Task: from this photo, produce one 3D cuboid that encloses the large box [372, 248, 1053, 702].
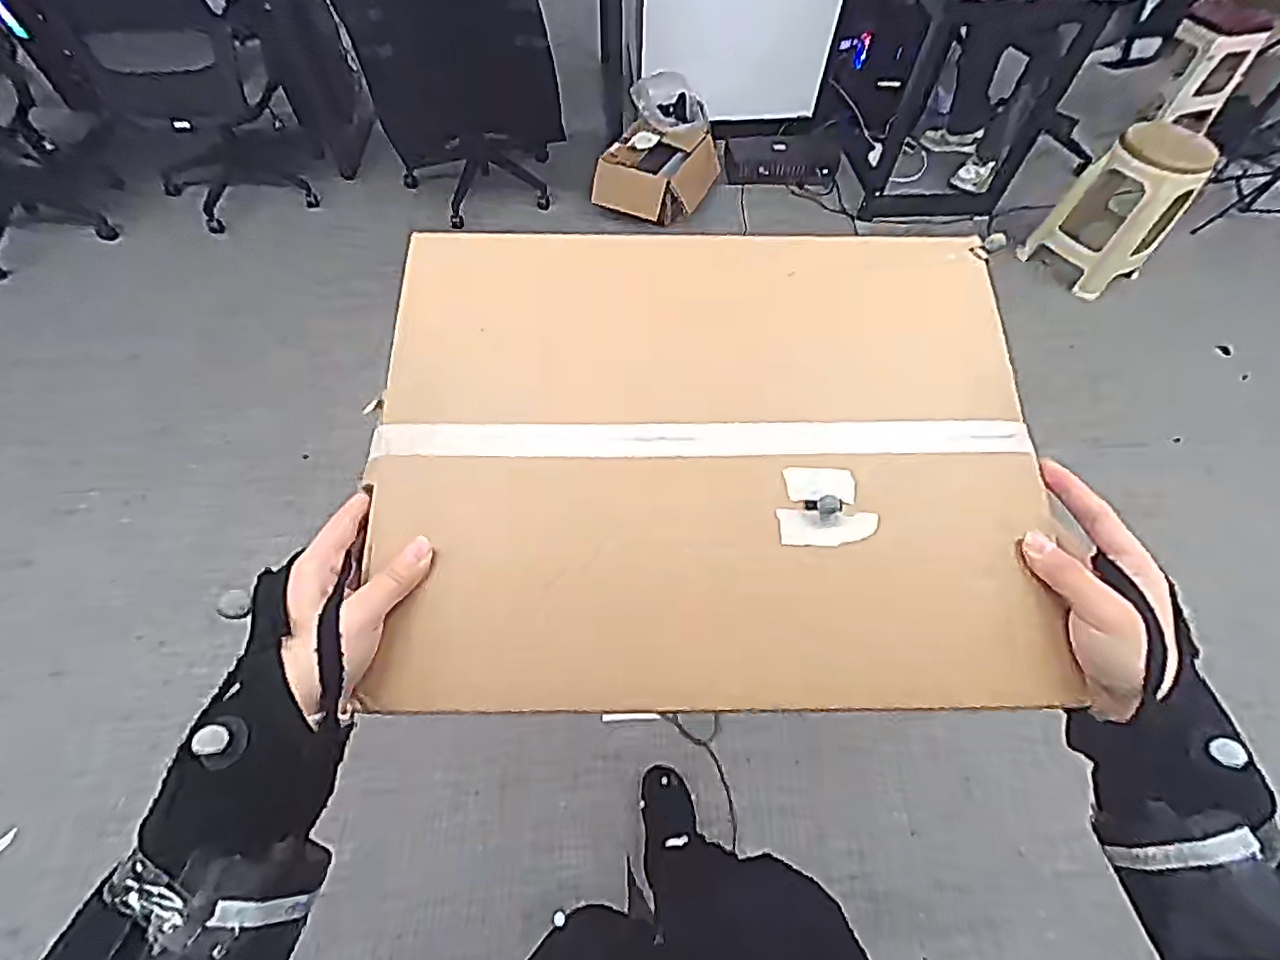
[{"bbox_3d":[0.037,0.020,0.496,0.408,0.320,0.320,0,73,-1],"label":"large box"}]
